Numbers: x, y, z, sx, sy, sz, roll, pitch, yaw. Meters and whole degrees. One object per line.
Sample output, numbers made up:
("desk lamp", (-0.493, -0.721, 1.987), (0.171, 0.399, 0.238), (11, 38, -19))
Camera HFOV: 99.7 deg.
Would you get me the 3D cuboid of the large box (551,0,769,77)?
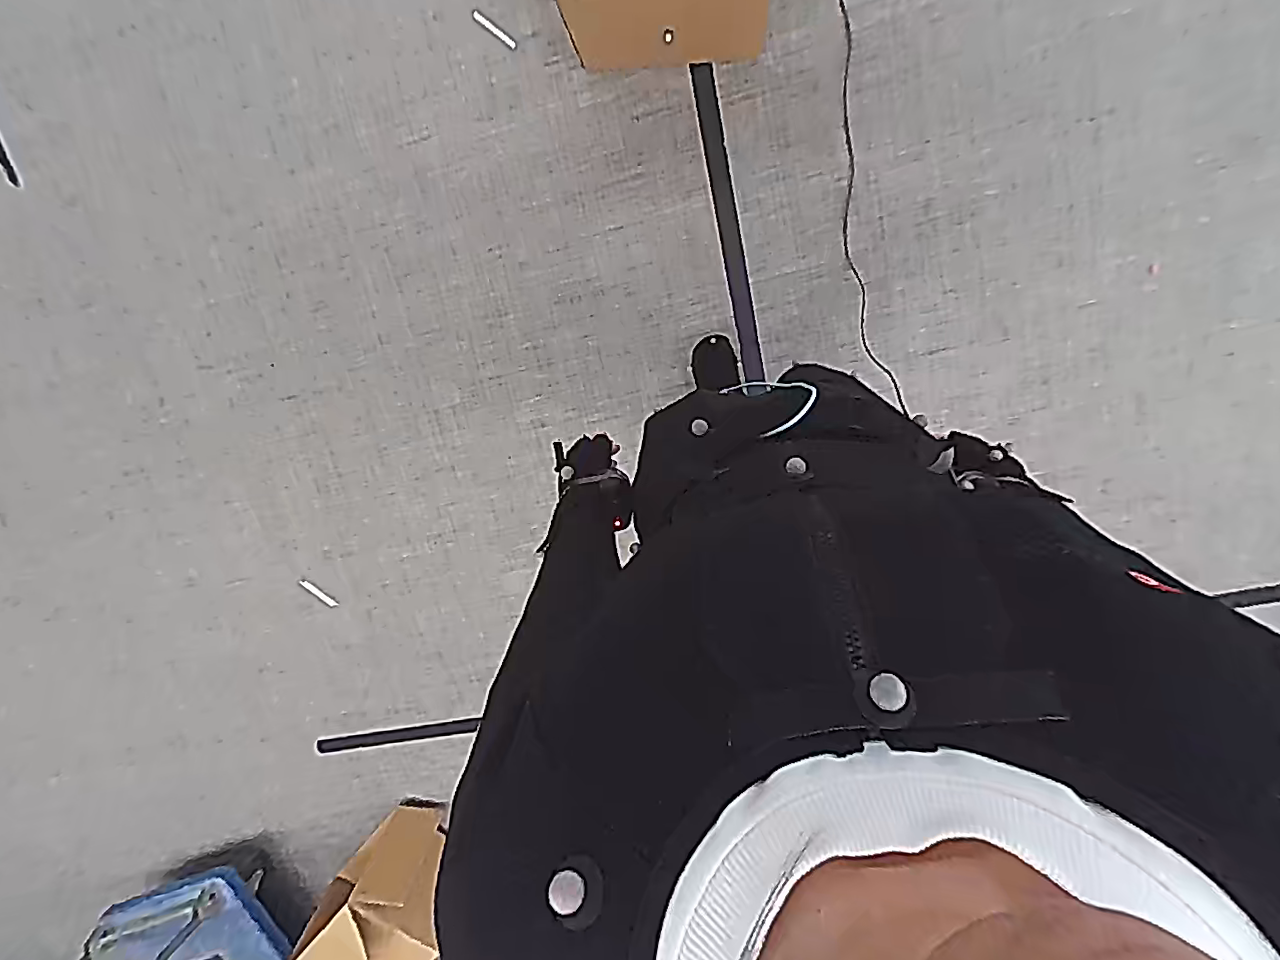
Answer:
("large box", (0.047, -1.056, 1.065), (0.408, 0.320, 0.320), (0, 102, 7))
